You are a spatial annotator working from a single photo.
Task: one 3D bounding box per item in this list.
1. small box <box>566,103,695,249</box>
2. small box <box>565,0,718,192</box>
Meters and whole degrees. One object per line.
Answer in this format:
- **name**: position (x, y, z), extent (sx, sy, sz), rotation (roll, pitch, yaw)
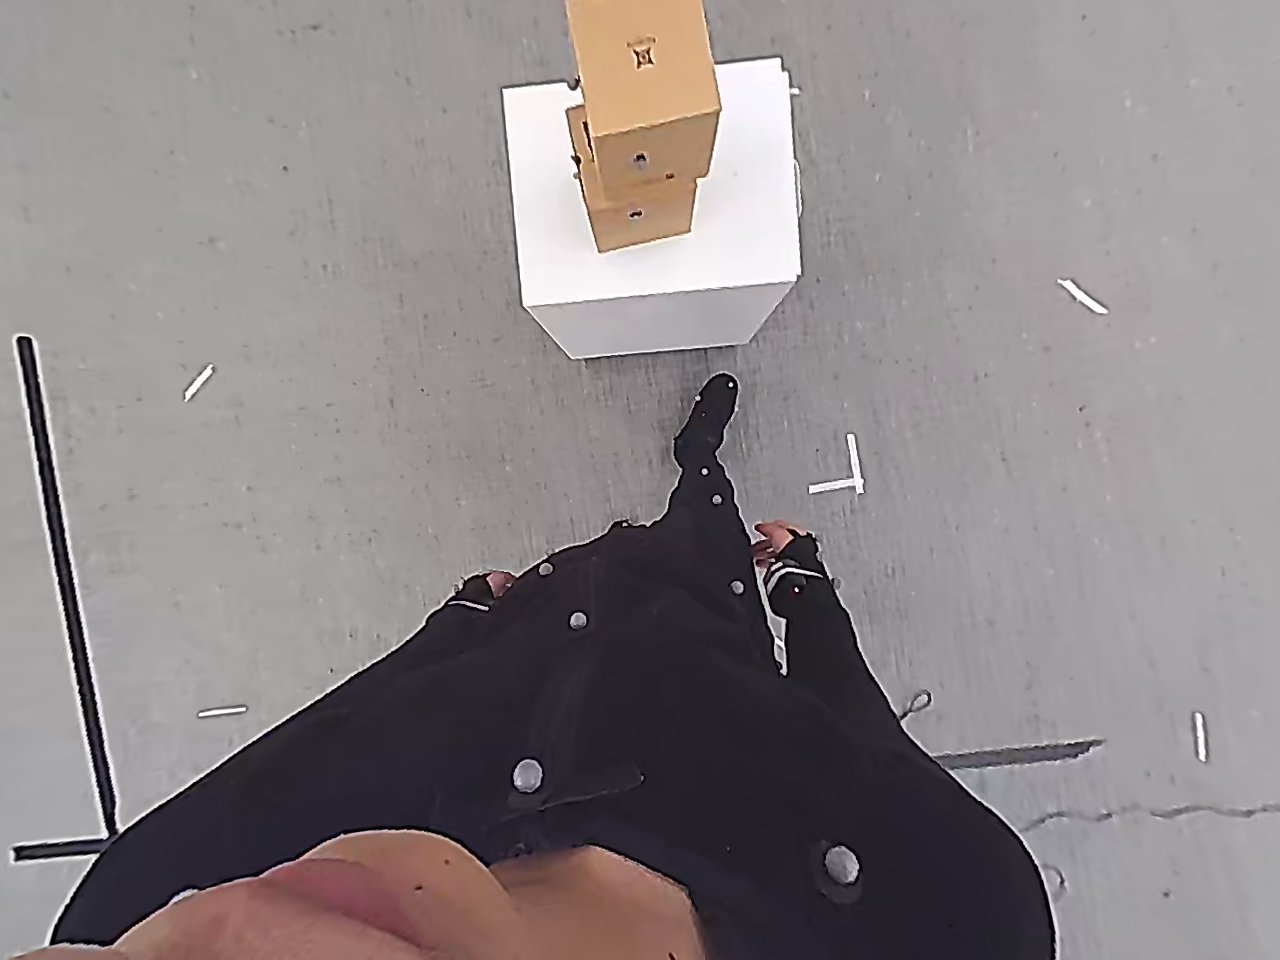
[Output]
- **small box**: position (-0.012, -0.511, 0.907), extent (0.179, 0.176, 0.168), rotation (-12, 92, 2)
- **small box**: position (0.006, -0.525, 0.743), extent (0.168, 0.176, 0.179), rotation (-11, 91, 2)
